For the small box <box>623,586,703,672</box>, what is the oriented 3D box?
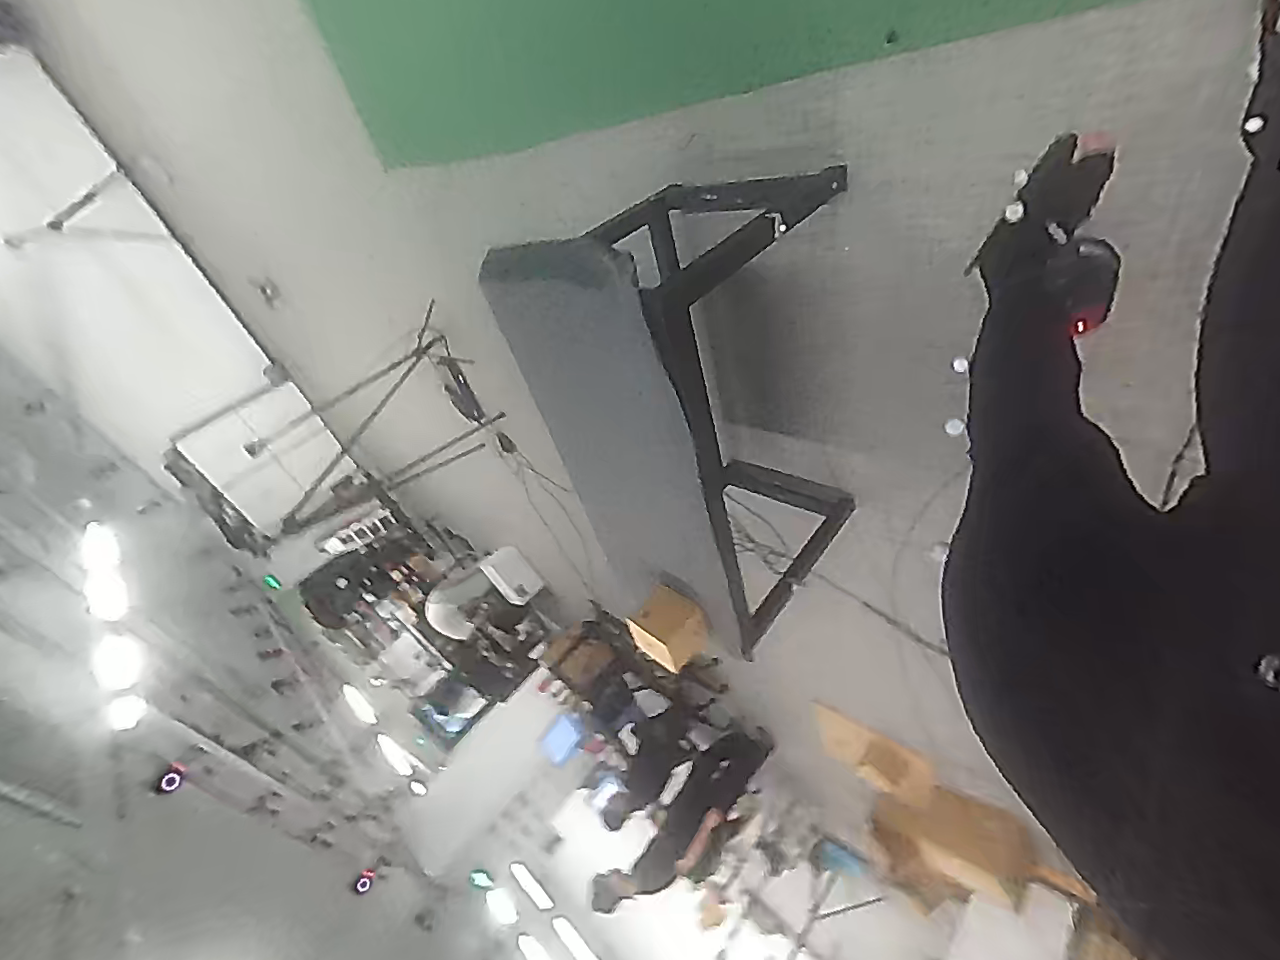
[{"bbox_3d":[0.077,0.469,1.731,0.179,0.176,0.168,25,144,39],"label":"small box"}]
